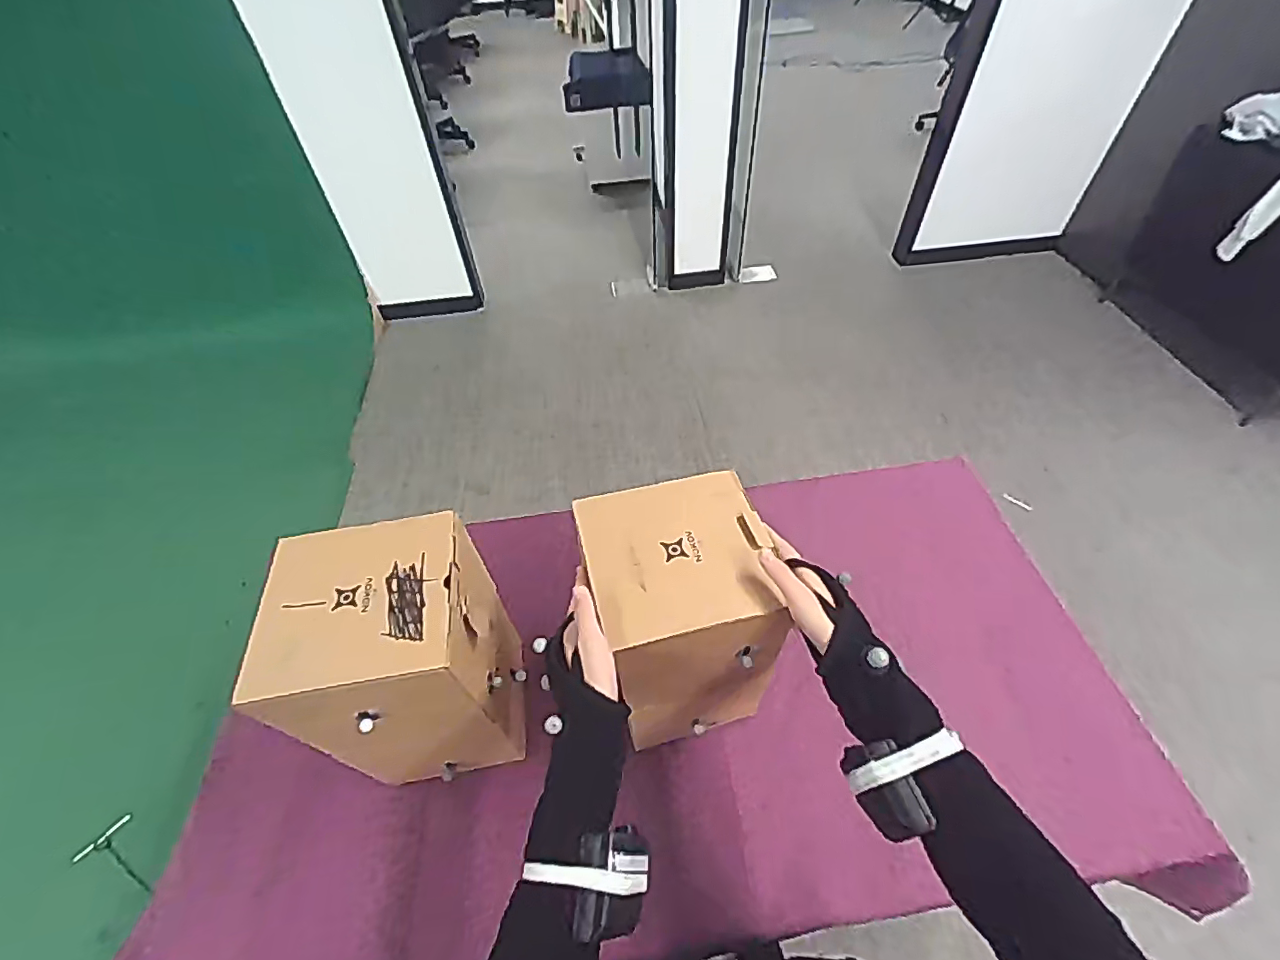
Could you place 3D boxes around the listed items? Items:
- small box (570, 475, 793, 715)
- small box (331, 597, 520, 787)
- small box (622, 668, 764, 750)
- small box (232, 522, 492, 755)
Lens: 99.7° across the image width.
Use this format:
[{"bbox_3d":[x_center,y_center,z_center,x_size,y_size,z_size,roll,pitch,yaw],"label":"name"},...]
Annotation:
[{"bbox_3d":[0.032,0.122,0.565,0.179,0.176,0.168,-12,50,-8],"label":"small box"},{"bbox_3d":[-0.252,0.271,0.686,0.179,0.176,0.168,-9,51,-5],"label":"small box"},{"bbox_3d":[0.043,0.225,0.708,0.168,0.176,0.179,-13,52,-7],"label":"small box"},{"bbox_3d":[-0.257,0.167,0.558,0.179,0.176,0.168,-9,51,-3],"label":"small box"}]
